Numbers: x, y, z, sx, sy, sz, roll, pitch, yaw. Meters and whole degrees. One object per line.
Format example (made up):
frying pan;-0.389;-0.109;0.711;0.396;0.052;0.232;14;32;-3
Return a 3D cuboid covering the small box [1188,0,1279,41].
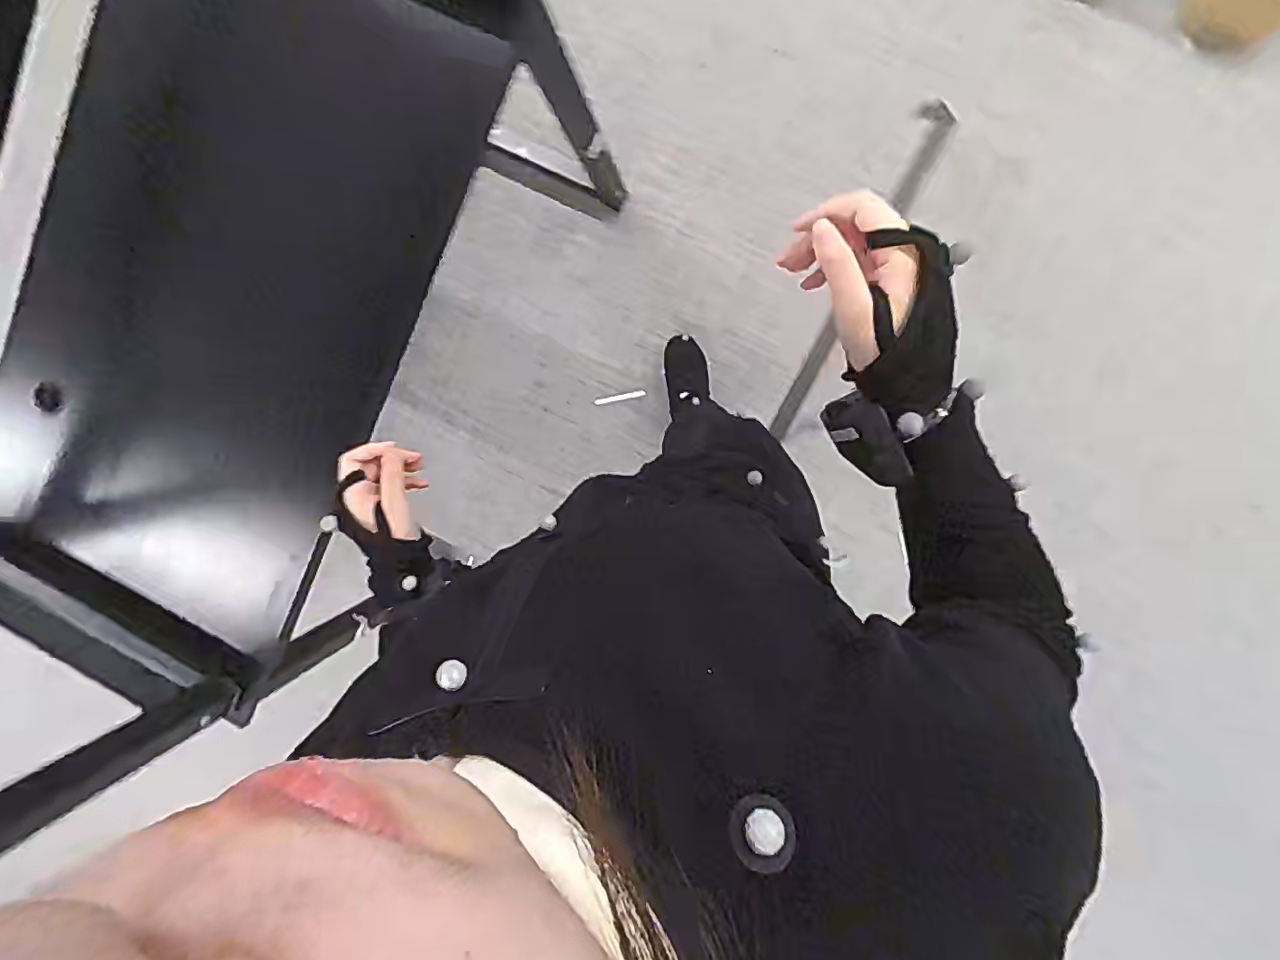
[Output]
small box;1.274;-1.037;1.083;0.168;0.176;0.179;19;99;4
